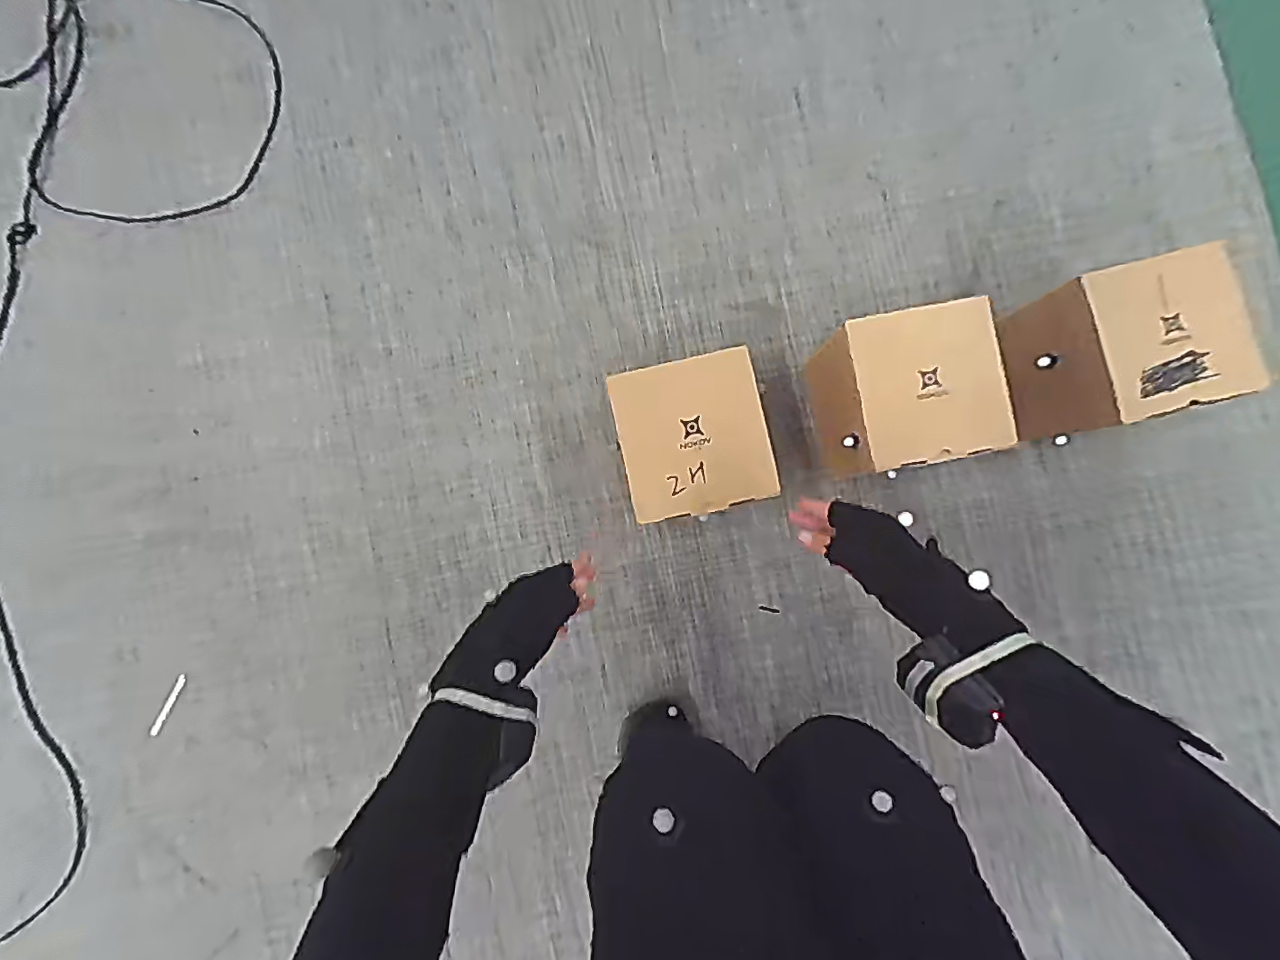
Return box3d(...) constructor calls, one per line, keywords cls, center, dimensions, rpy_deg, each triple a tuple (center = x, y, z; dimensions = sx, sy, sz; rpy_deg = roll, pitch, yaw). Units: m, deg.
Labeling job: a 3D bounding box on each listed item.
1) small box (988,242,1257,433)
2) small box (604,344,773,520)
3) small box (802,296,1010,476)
box3d(cls="small box", center=(0.581, -0.161, 0.678), dimensions=(0.168, 0.176, 0.179), rpy_deg=(-13, 87, 2))
box3d(cls="small box", center=(0.056, -0.050, 0.689), dimensions=(0.168, 0.176, 0.179), rpy_deg=(-12, 88, 3))
box3d(cls="small box", center=(0.318, -0.106, 0.685), dimensions=(0.168, 0.176, 0.179), rpy_deg=(-10, 88, 1))
